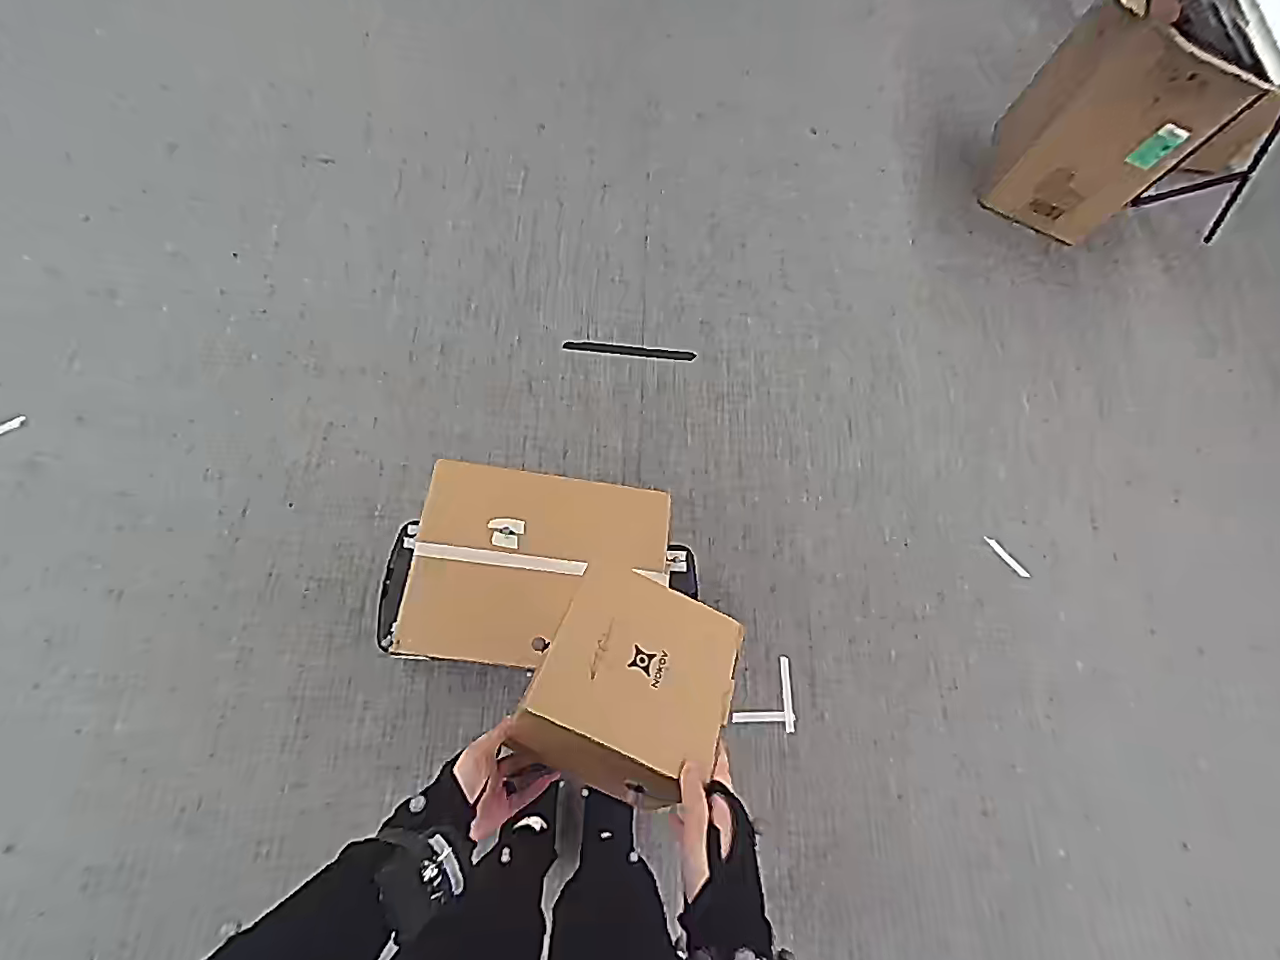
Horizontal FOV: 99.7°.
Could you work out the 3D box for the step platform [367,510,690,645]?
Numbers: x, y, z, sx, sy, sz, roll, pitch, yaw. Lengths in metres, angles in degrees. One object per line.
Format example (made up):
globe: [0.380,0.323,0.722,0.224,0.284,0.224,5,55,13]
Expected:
step platform: [-0.229,0.270,1.220,0.684,0.204,0.286,11,70,-4]

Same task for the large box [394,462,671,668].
large box: [-0.173,0.184,1.004,0.408,0.320,0.320,8,69,-5]

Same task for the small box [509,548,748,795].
small box: [-0.016,0.206,0.564,0.179,0.176,0.168,26,50,-1]
